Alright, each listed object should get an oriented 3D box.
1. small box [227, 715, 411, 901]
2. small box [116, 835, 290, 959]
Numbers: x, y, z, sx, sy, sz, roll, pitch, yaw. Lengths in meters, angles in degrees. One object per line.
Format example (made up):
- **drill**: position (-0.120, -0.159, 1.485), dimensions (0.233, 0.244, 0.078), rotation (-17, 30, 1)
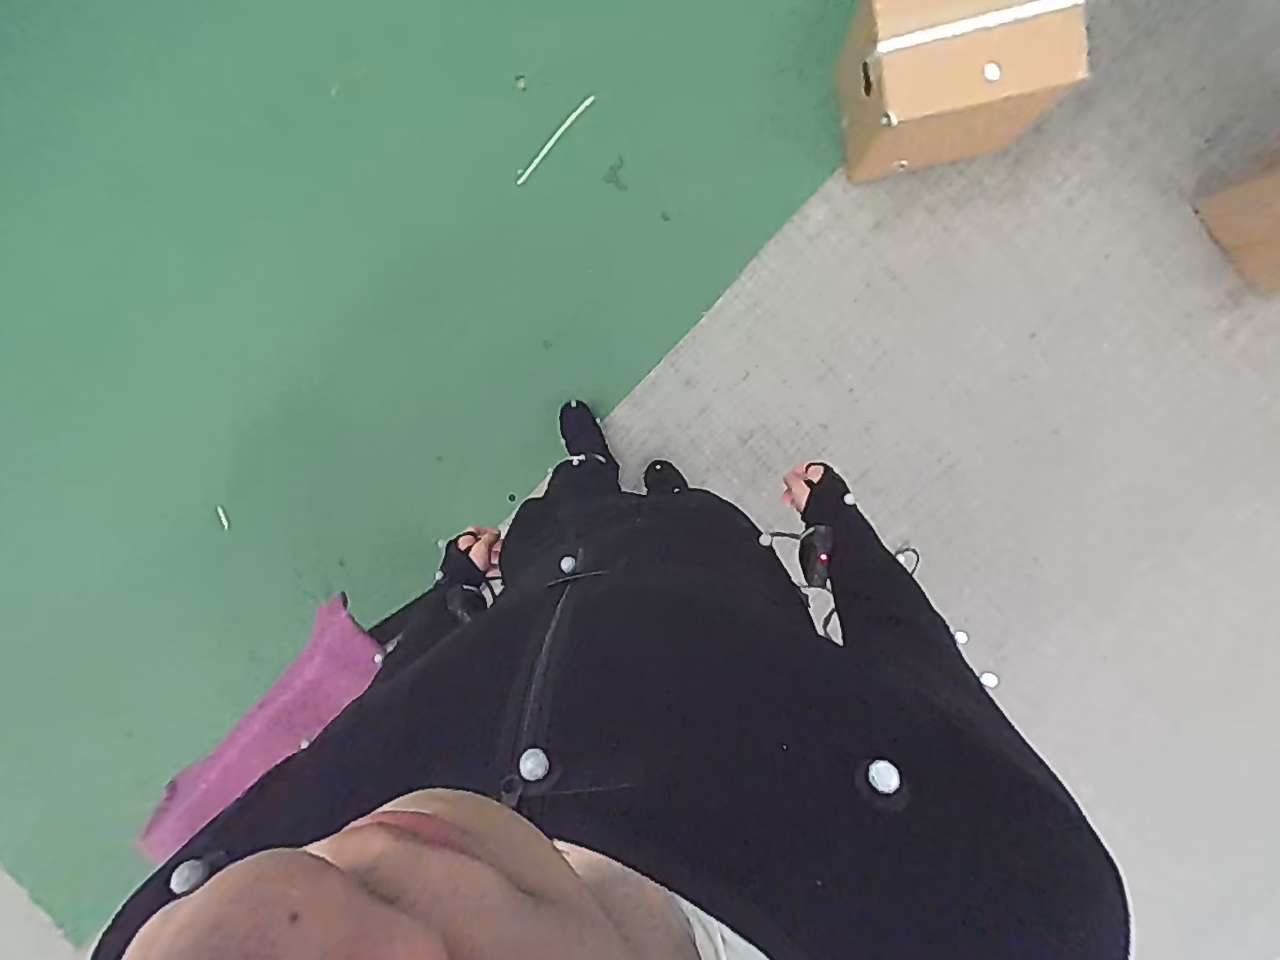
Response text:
- **small box**: position (-0.535, 0.550, 0.927), dimensions (0.179, 0.176, 0.168), rotation (-44, 92, 11)
- **small box**: position (-0.759, 0.773, 0.976), dimensions (0.168, 0.176, 0.179), rotation (43, 99, -3)
